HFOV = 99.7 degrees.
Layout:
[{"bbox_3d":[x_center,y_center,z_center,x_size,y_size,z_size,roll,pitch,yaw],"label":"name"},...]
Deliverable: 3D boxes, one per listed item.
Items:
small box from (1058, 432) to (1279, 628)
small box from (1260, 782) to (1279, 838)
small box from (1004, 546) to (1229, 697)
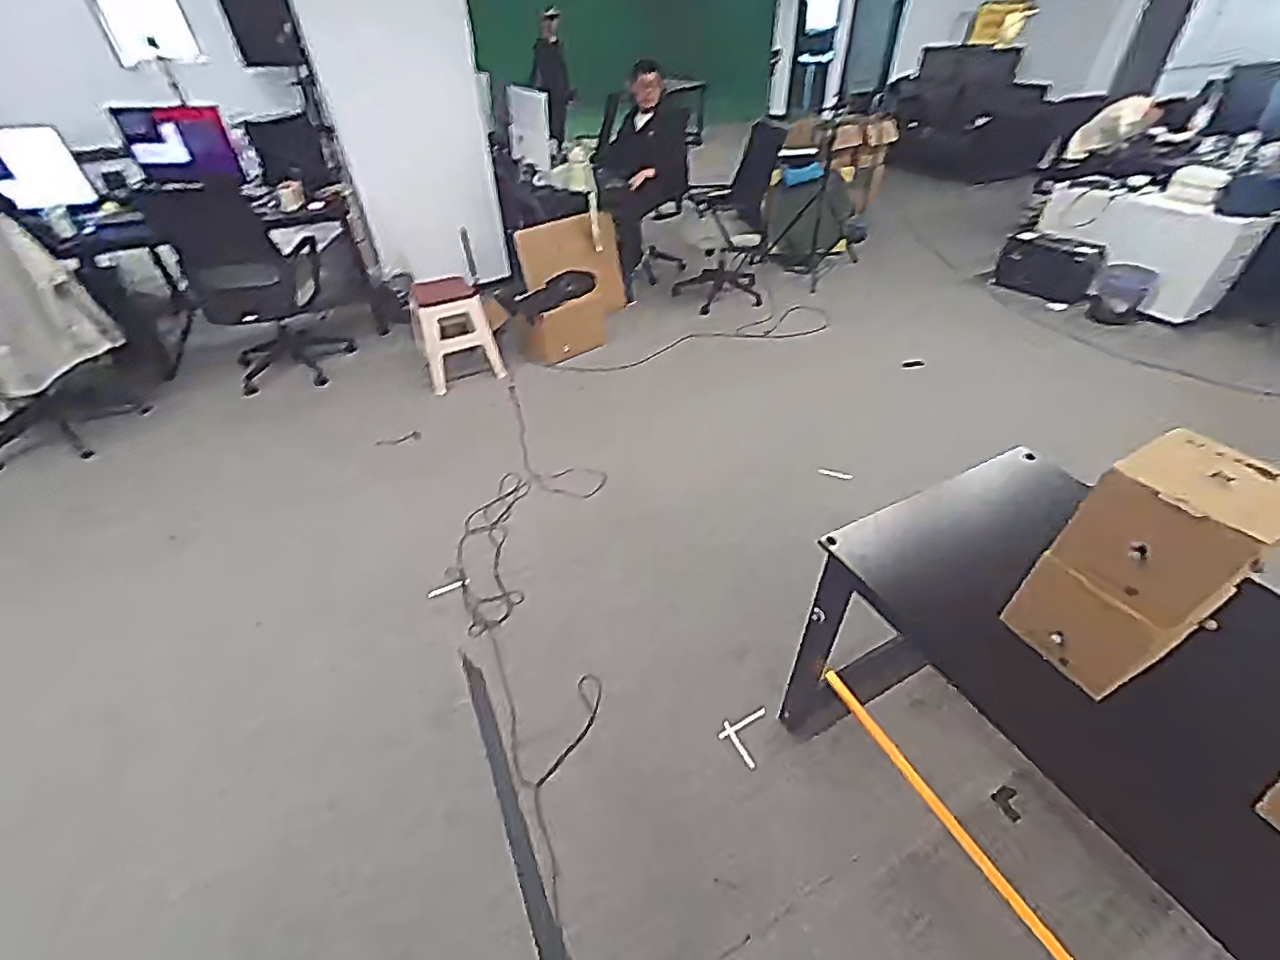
[{"bbox_3d":[0.715,0.066,0.728,0.179,0.176,0.168,-21,44,-20],"label":"small box"},{"bbox_3d":[0.887,0.382,0.611,0.179,0.176,0.168,-21,43,-20],"label":"small box"},{"bbox_3d":[0.710,0.195,0.830,0.179,0.176,0.168,-19,43,-19],"label":"small box"}]
